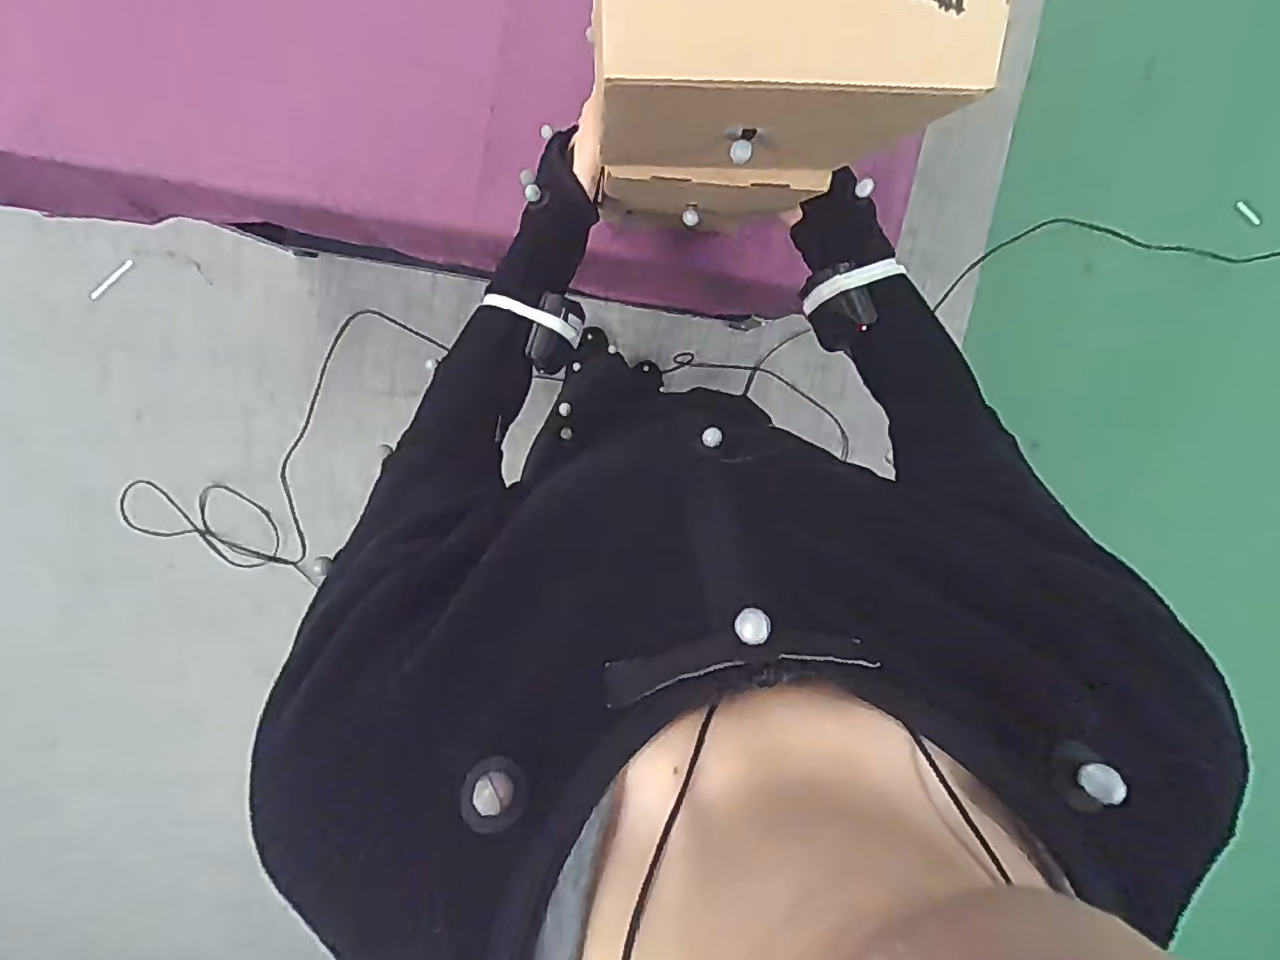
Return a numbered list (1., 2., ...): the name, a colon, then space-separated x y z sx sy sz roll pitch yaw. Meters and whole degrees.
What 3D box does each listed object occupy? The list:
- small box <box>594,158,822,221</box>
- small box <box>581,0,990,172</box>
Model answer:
1. small box: 0.049 -0.322 0.438 0.168 0.176 0.179 2 109 -5
2. small box: 0.057 -0.271 0.282 0.179 0.176 0.168 -1 109 -4
